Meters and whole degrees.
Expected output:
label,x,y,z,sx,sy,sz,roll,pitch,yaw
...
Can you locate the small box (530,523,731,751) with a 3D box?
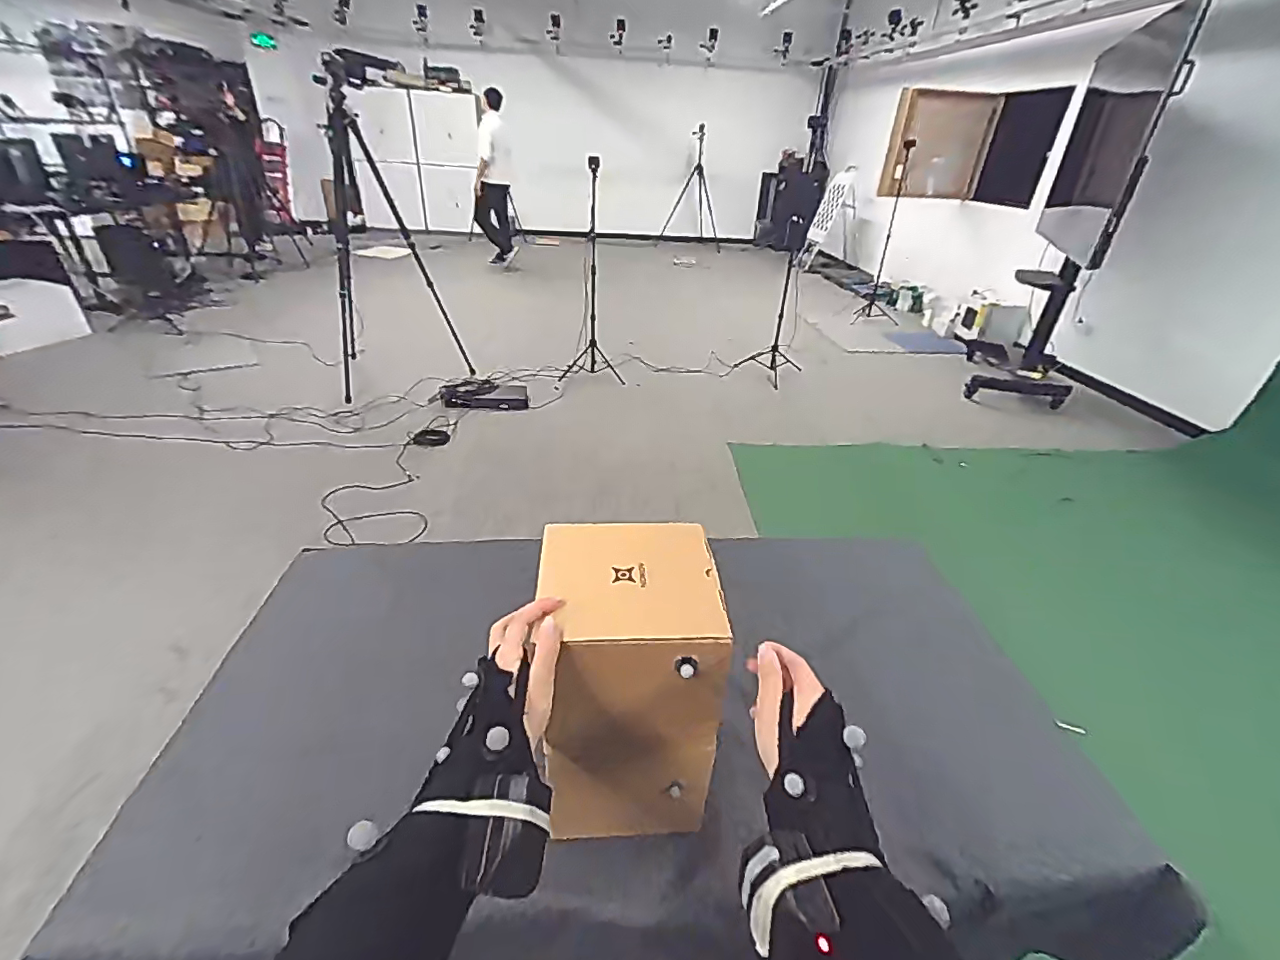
label,x,y,z,sx,sy,sz,roll,pitch,yaw
small box,-0.014,0.161,0.567,0.179,0.176,0.168,0,32,-5
